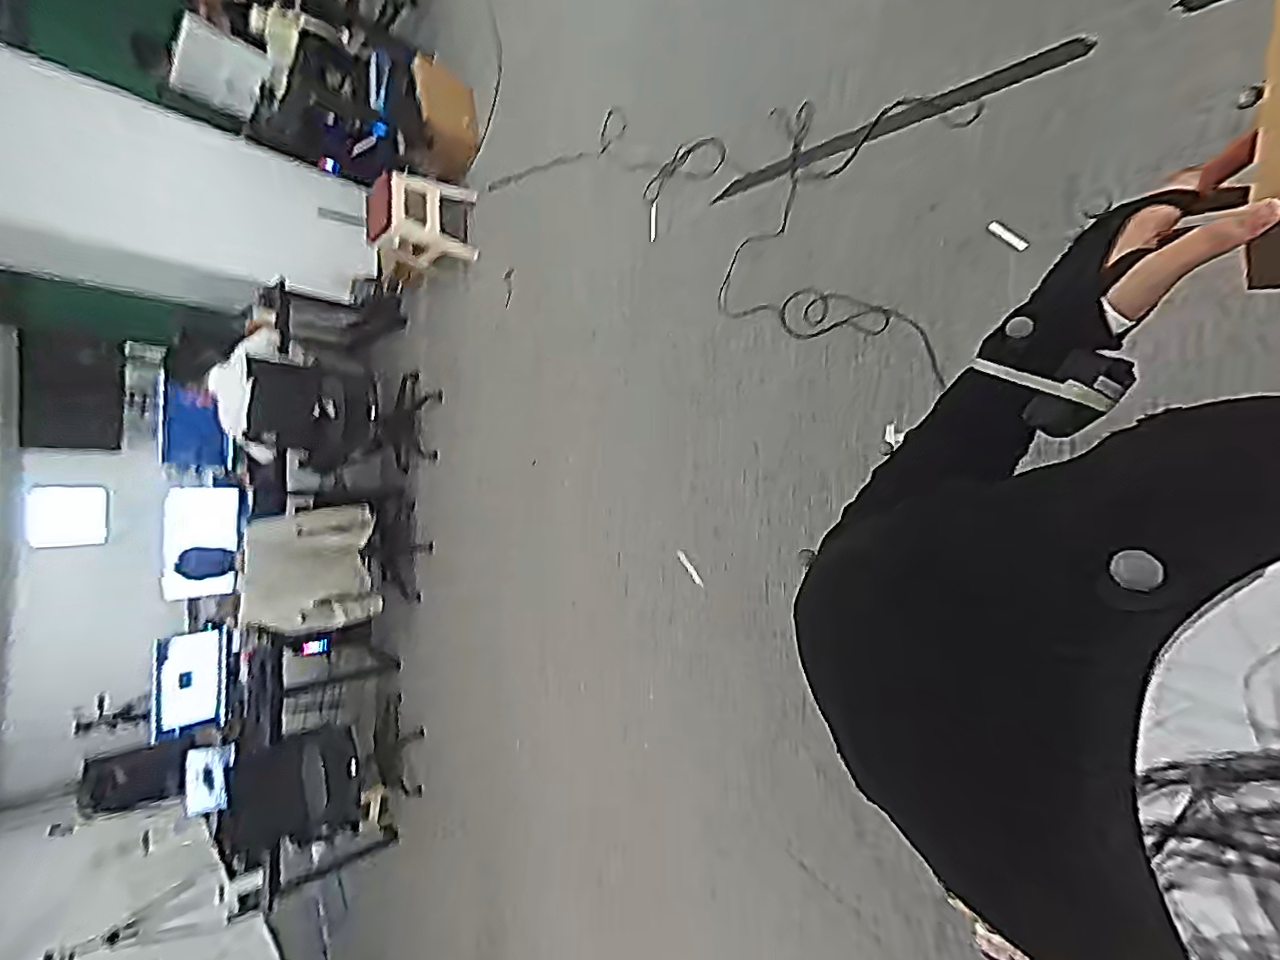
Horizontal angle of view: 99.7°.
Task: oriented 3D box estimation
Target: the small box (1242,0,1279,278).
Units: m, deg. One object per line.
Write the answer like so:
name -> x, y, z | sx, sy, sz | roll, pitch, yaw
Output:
small box -> 0.460, -0.232, 0.293 | 0.168, 0.176, 0.179 | 7, 94, 50
